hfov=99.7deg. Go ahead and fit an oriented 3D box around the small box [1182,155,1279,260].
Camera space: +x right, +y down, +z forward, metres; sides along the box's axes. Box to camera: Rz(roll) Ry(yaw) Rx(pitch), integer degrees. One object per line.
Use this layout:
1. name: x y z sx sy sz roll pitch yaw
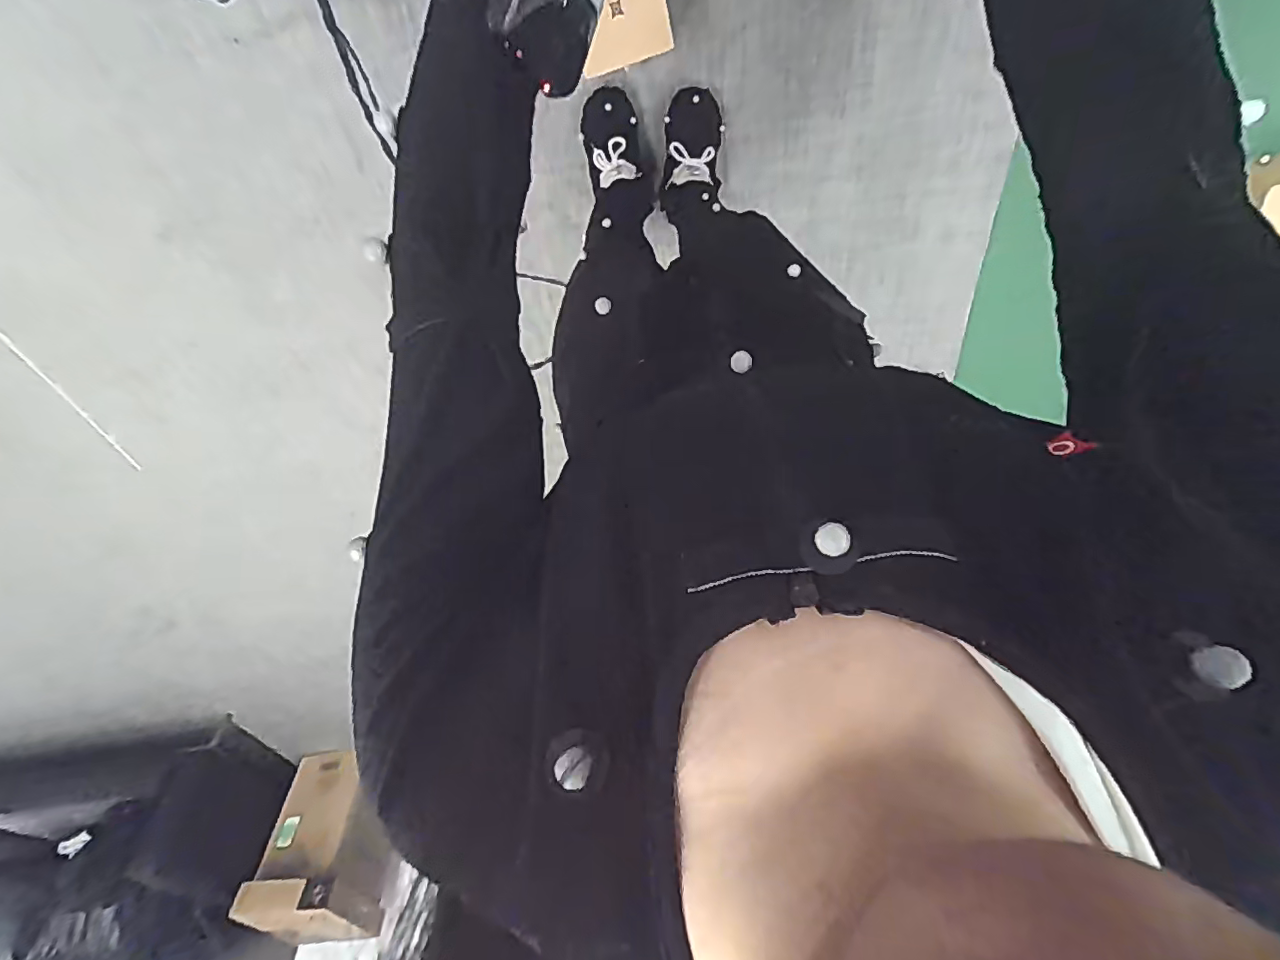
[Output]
1. small box: 1.419 -0.625 1.234 0.179 0.176 0.168 -8 132 5
